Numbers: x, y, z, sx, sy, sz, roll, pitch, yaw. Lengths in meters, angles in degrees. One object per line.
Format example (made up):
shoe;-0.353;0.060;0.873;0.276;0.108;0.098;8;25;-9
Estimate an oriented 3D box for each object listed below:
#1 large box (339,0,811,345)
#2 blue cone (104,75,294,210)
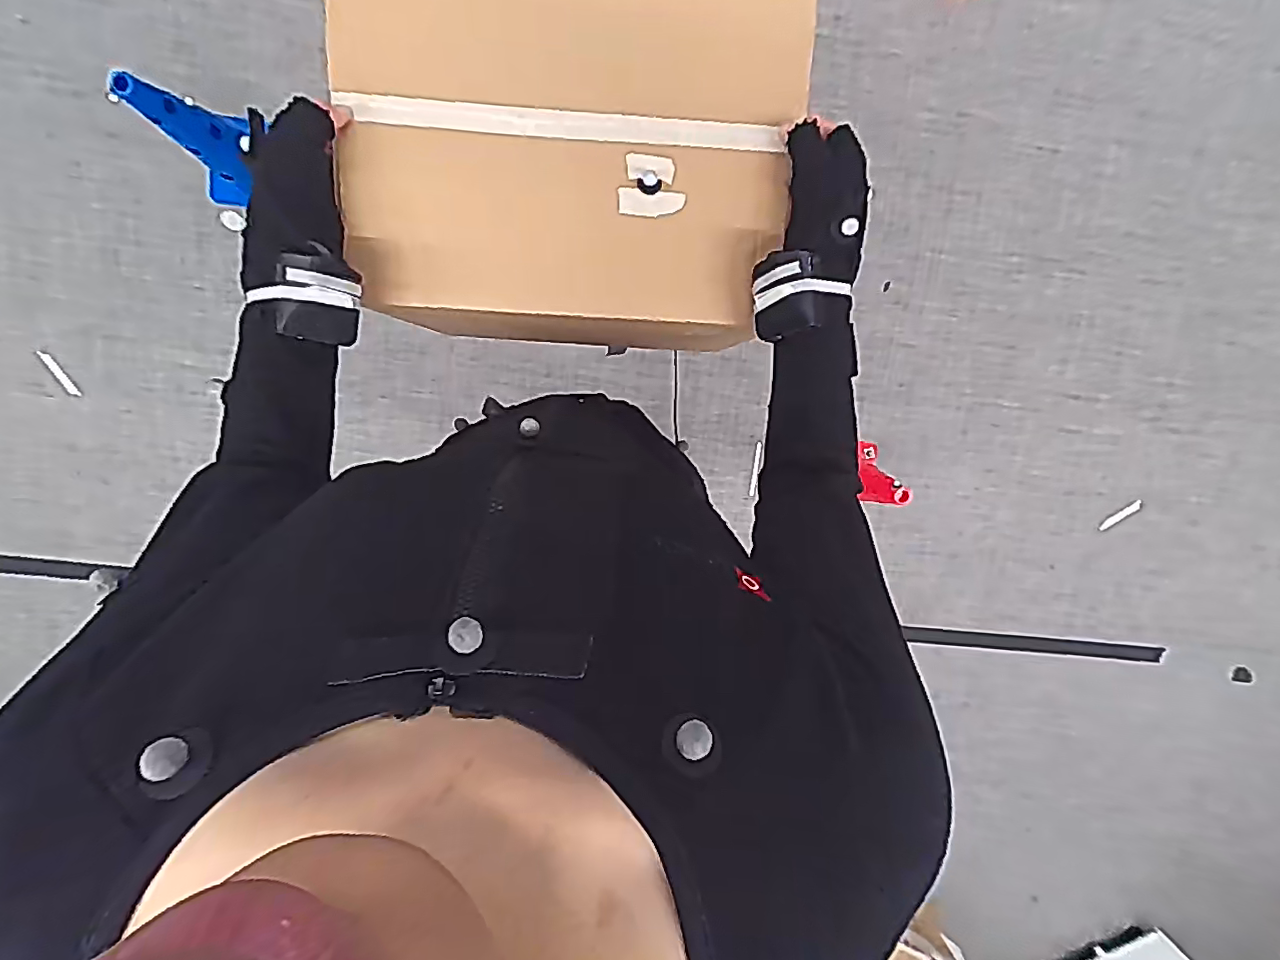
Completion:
large box;-0.065;-0.331;0.617;0.408;0.320;0.320;2;99;-4
blue cone;-0.937;-0.737;1.151;0.192;0.380;0.193;10;99;-3
